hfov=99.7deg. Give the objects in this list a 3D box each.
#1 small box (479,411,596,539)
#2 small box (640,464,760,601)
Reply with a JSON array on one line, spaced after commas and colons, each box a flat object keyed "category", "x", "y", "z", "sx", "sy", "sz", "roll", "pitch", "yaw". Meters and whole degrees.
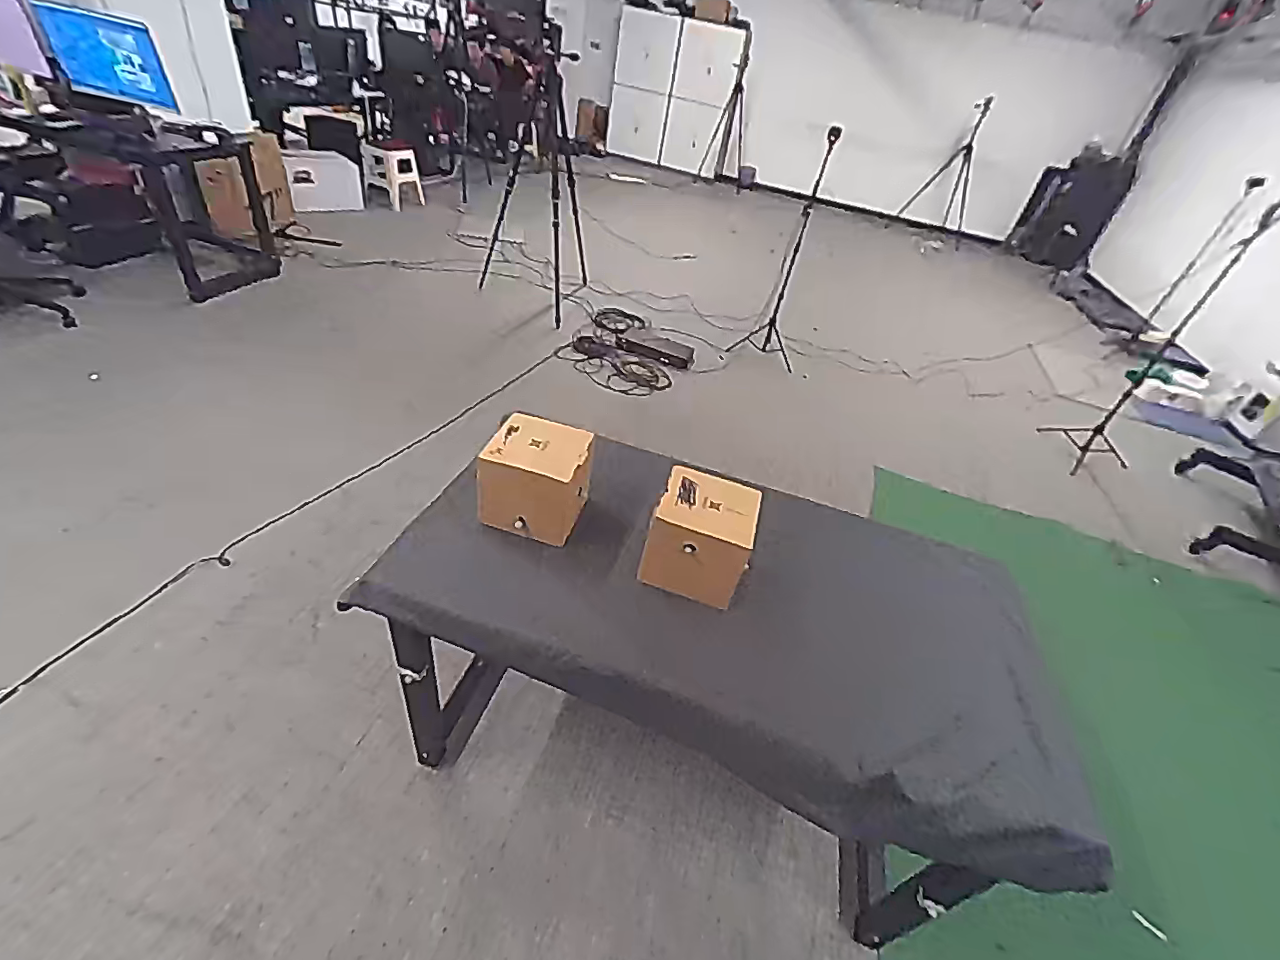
[{"category": "small box", "x": -0.203, "y": -0.007, "z": 1.072, "sx": 0.179, "sy": 0.176, "sz": 0.168, "roll": 17, "pitch": 39, "yaw": 4}, {"category": "small box", "x": 0.110, "y": 0.101, "z": 1.023, "sx": 0.179, "sy": 0.176, "sz": 0.168, "roll": 18, "pitch": 39, "yaw": 6}]
